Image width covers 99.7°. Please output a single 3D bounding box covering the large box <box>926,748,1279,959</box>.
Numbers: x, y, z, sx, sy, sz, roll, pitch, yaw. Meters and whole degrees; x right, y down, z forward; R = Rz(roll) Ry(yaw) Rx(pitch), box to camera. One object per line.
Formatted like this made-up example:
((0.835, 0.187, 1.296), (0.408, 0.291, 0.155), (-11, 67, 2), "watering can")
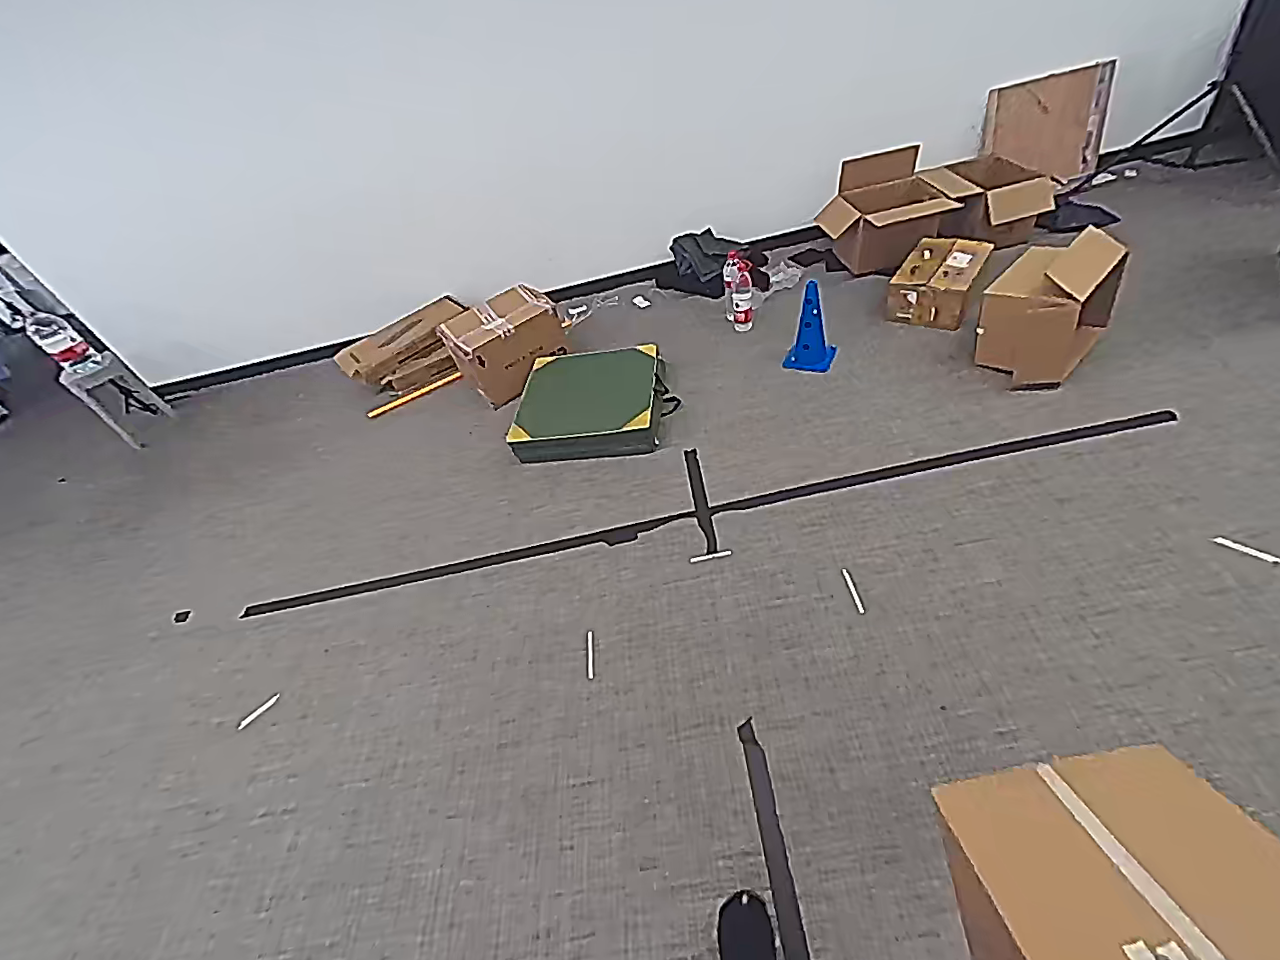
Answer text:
((0.589, 0.592, 0.600), (0.320, 0.320, 0.408), (-18, 11, 8), "large box")
